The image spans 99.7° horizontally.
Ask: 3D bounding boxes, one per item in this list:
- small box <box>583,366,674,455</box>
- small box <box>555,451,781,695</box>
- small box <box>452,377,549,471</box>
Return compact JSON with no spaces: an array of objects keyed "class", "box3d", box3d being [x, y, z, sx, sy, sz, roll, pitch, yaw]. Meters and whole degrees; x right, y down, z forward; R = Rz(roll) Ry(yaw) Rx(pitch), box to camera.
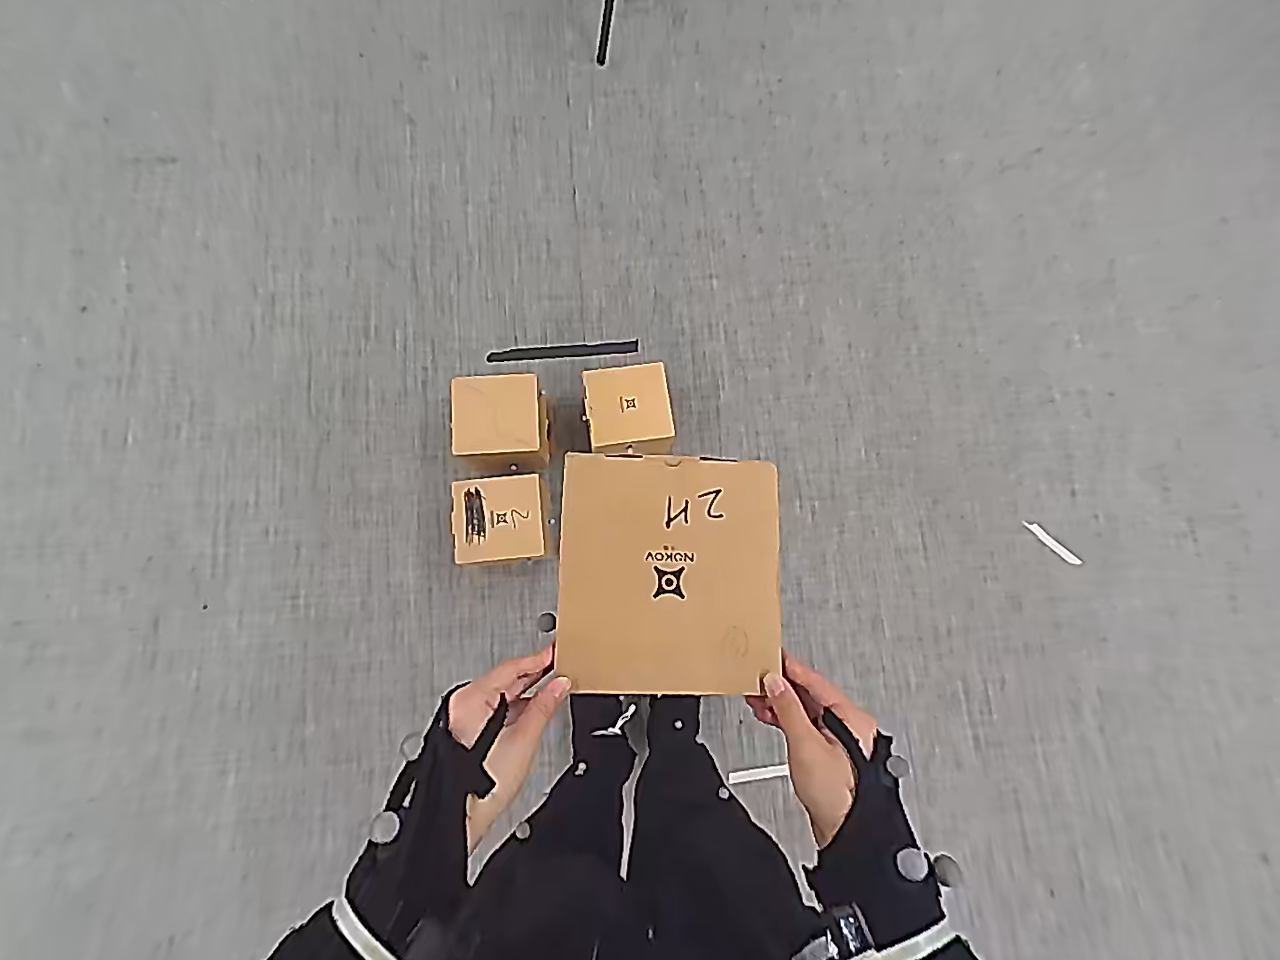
[{"class":"small box","box3d":[-0.029,-0.140,1.206,0.179,0.176,0.168,-8,81,-4]},{"class":"small box","box3d":[0.019,0.081,0.480,0.168,0.176,0.179,2,79,-4]},{"class":"small box","box3d":[-0.298,-0.118,1.181,0.179,0.176,0.168,-3,80,-4]}]
